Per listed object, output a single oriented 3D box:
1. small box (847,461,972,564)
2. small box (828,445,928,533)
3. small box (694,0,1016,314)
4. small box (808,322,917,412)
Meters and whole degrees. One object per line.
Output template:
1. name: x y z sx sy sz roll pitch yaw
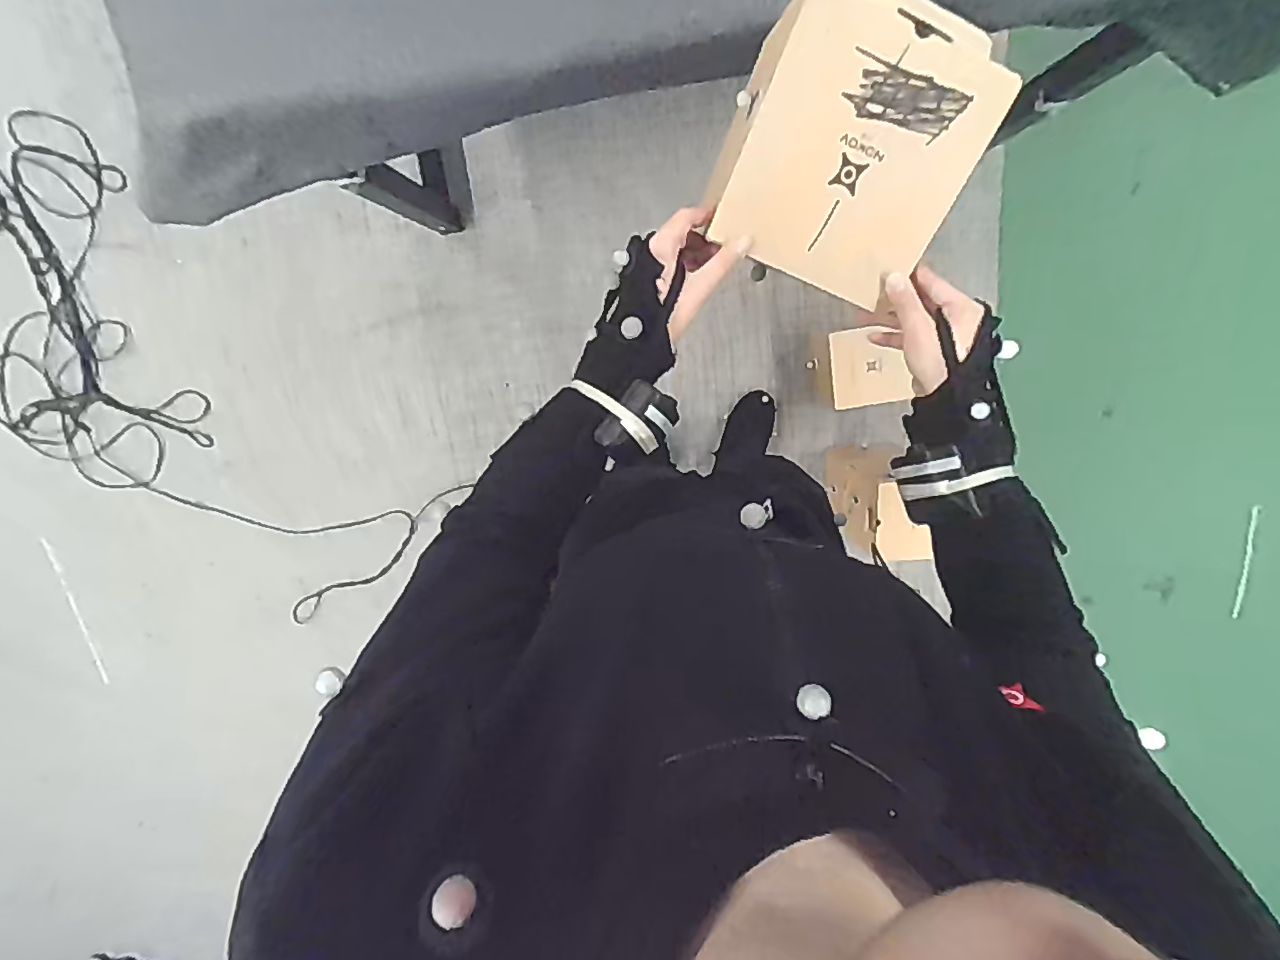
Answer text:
1. small box: 0.545 0.061 1.115 0.179 0.176 0.168 -4 105 3
2. small box: 0.549 0.018 1.272 0.179 0.176 0.168 -4 105 5
3. small box: 0.153 -0.268 0.462 0.168 0.176 0.179 19 116 -8
4. small box: 0.491 -0.254 1.206 0.179 0.176 0.168 -9 103 5
